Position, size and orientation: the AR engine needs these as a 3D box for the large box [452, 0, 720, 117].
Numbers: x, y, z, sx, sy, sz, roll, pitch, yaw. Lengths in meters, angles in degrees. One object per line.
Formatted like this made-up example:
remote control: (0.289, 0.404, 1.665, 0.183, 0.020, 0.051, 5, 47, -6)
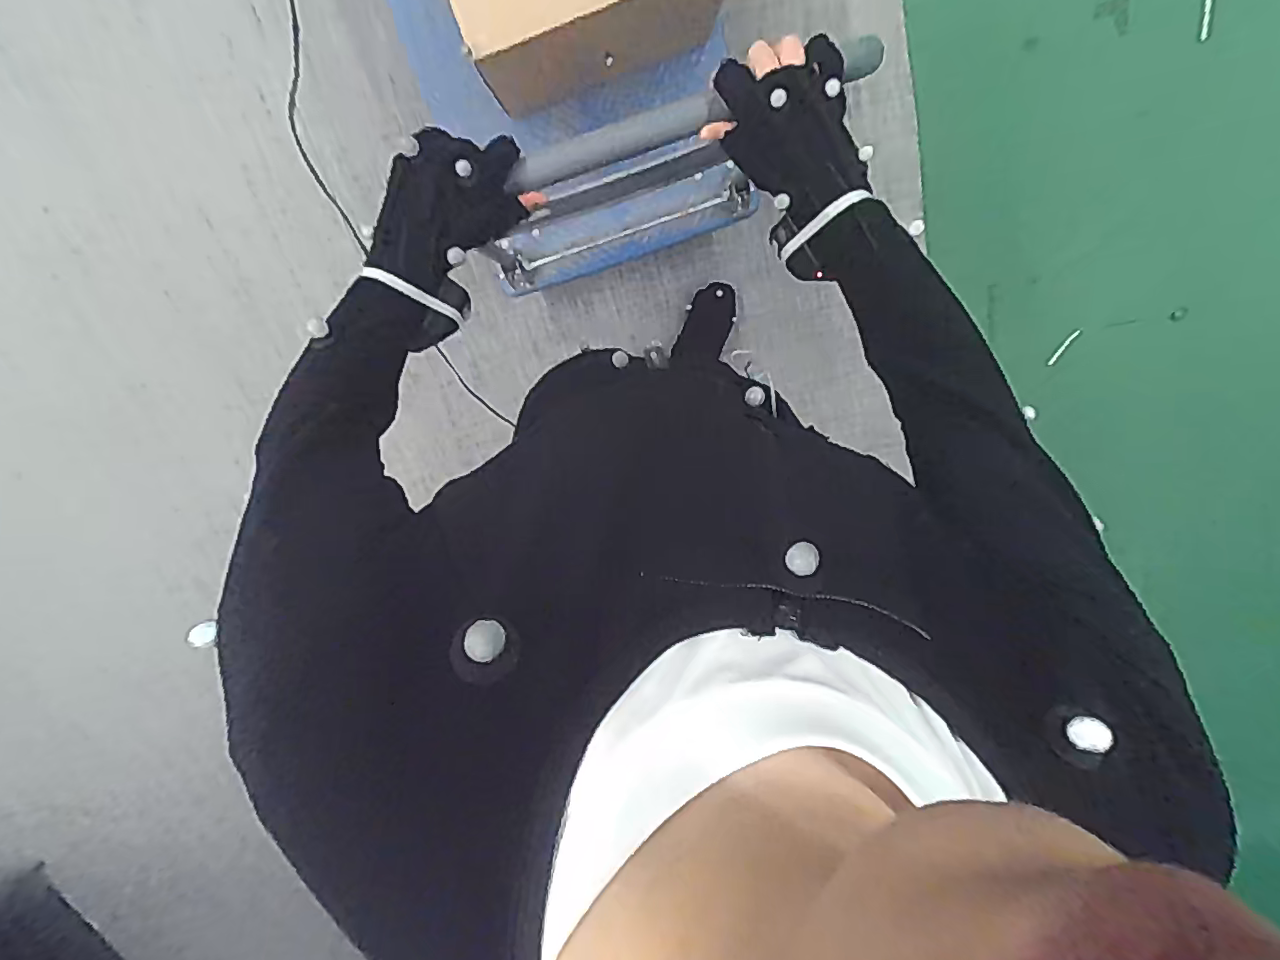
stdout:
large box: (-0.103, -0.857, 0.863, 0.408, 0.320, 0.320, -18, 109, 6)
